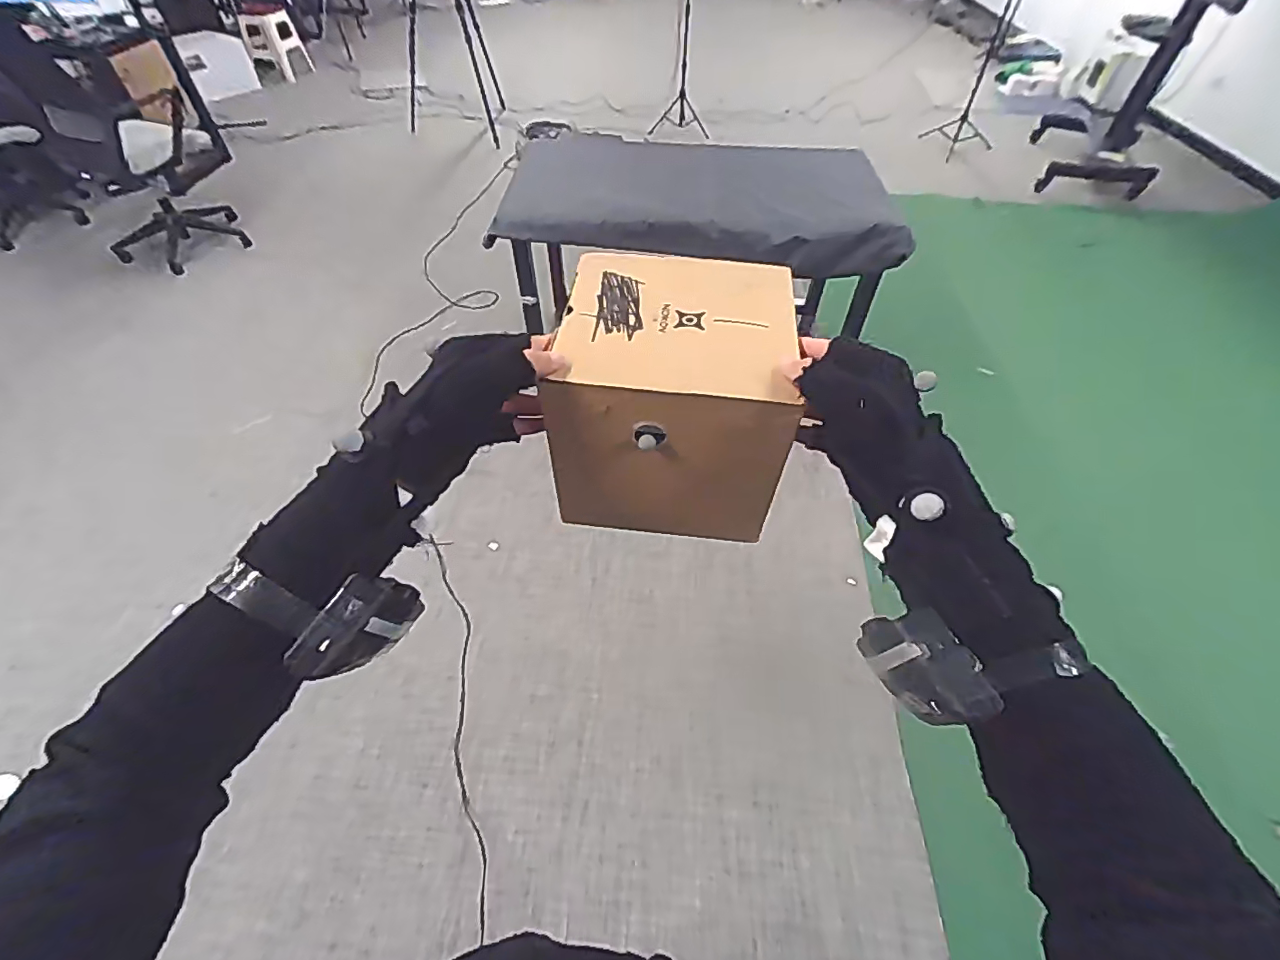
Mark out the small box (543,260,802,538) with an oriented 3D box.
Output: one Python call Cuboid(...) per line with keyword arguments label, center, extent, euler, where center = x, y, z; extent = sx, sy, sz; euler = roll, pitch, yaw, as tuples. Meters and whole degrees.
Cuboid(label="small box", center=(0.029, -0.065, 0.466), extent=(0.179, 0.176, 0.168), euler=(6, 52, 3))
